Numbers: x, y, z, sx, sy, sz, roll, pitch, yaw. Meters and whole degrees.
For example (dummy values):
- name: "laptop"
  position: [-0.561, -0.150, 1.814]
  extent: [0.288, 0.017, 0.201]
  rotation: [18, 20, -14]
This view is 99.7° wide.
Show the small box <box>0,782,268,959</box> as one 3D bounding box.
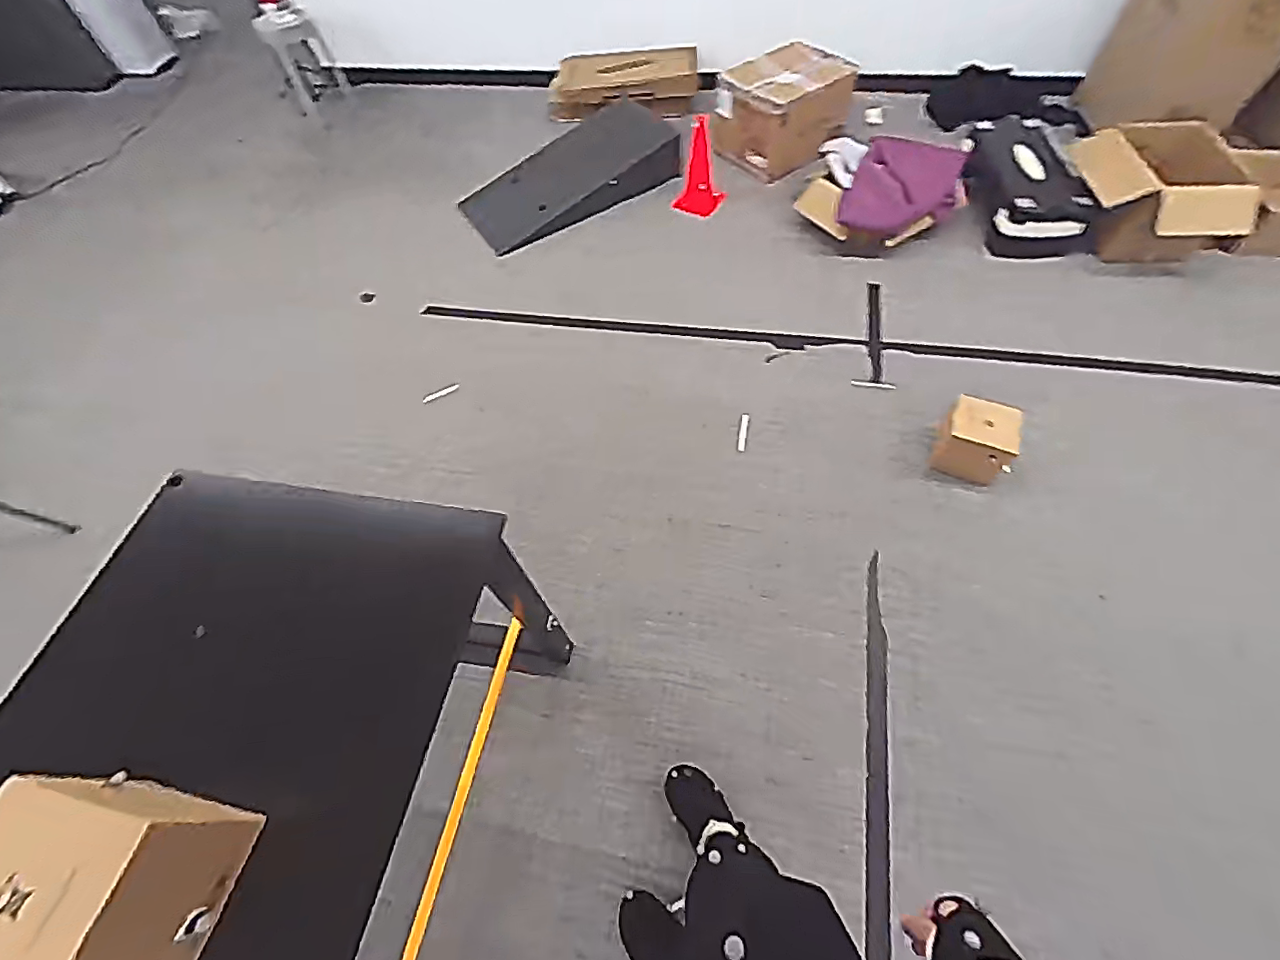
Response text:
- name: "small box"
  position: [-0.545, 0.423, 0.554]
  extent: [0.179, 0.176, 0.168]
  rotation: [8, 60, 9]

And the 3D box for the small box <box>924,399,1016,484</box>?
- name: "small box"
  position: [0.988, -0.109, 1.626]
  extent: [0.179, 0.176, 0.168]
  rotation: [19, 61, 15]
